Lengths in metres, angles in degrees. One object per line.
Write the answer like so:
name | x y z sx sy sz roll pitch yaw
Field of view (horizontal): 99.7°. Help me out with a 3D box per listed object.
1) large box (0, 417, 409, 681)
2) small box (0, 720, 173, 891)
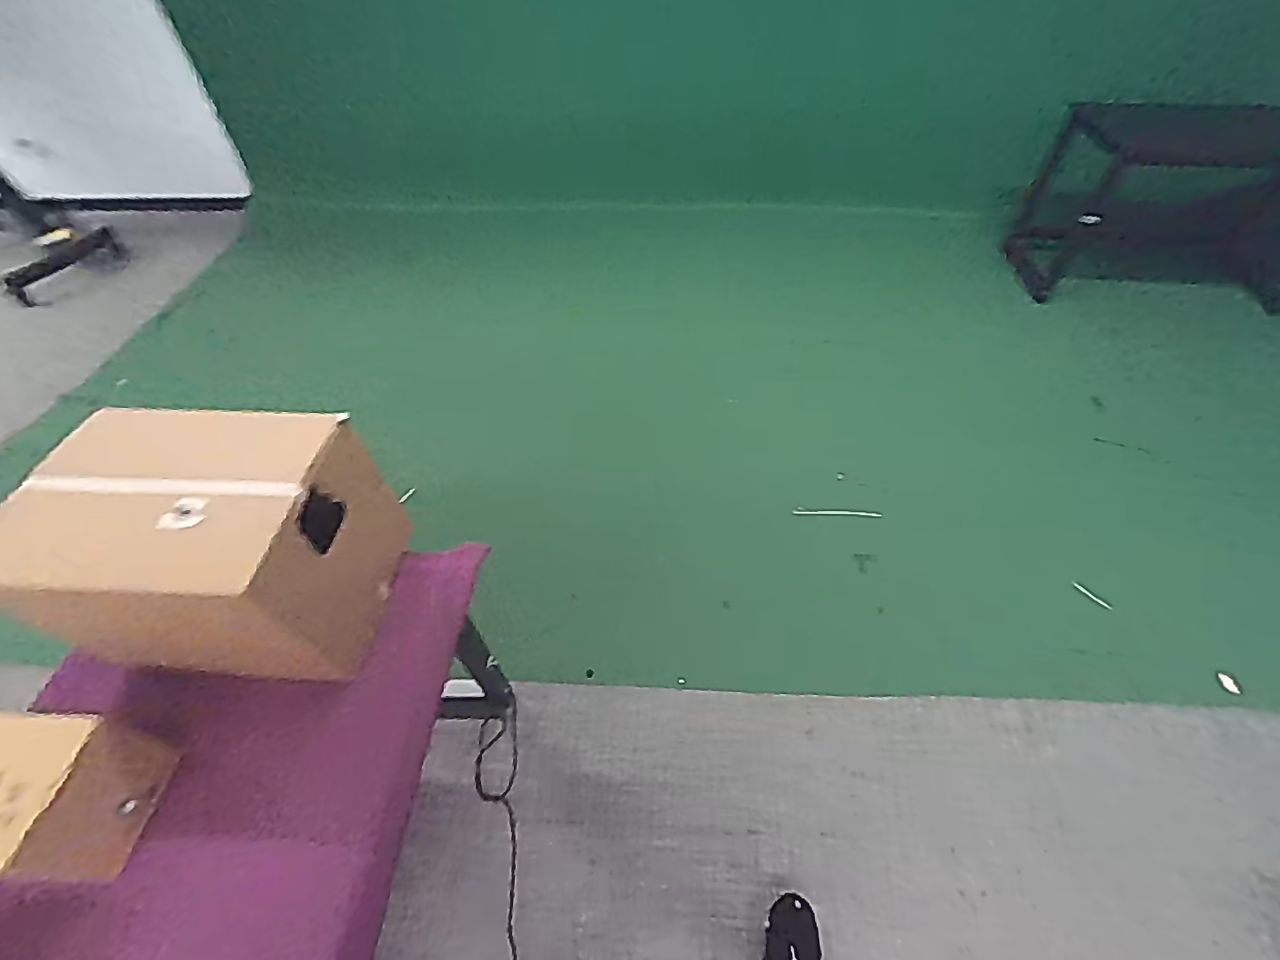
large box | -0.659 0.116 0.868 0.408 0.320 0.320 2 52 2
small box | -0.784 0.423 0.702 0.179 0.176 0.168 2 51 2
